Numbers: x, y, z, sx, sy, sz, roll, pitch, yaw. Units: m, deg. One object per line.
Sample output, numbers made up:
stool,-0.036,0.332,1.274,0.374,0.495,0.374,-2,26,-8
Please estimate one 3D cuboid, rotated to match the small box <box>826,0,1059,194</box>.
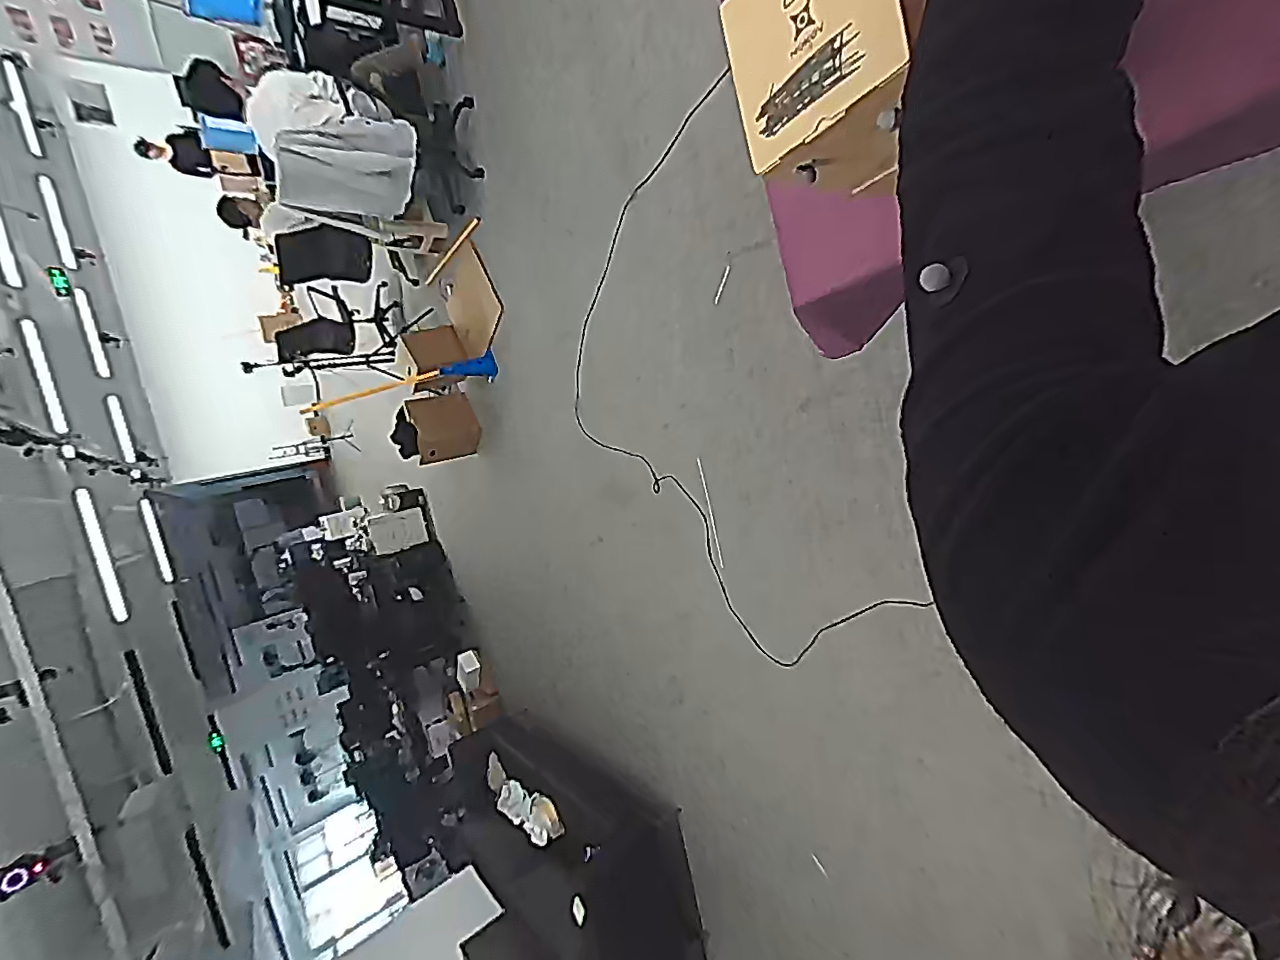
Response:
small box,0.348,-0.457,0.624,0.168,0.176,0.179,-8,98,55
